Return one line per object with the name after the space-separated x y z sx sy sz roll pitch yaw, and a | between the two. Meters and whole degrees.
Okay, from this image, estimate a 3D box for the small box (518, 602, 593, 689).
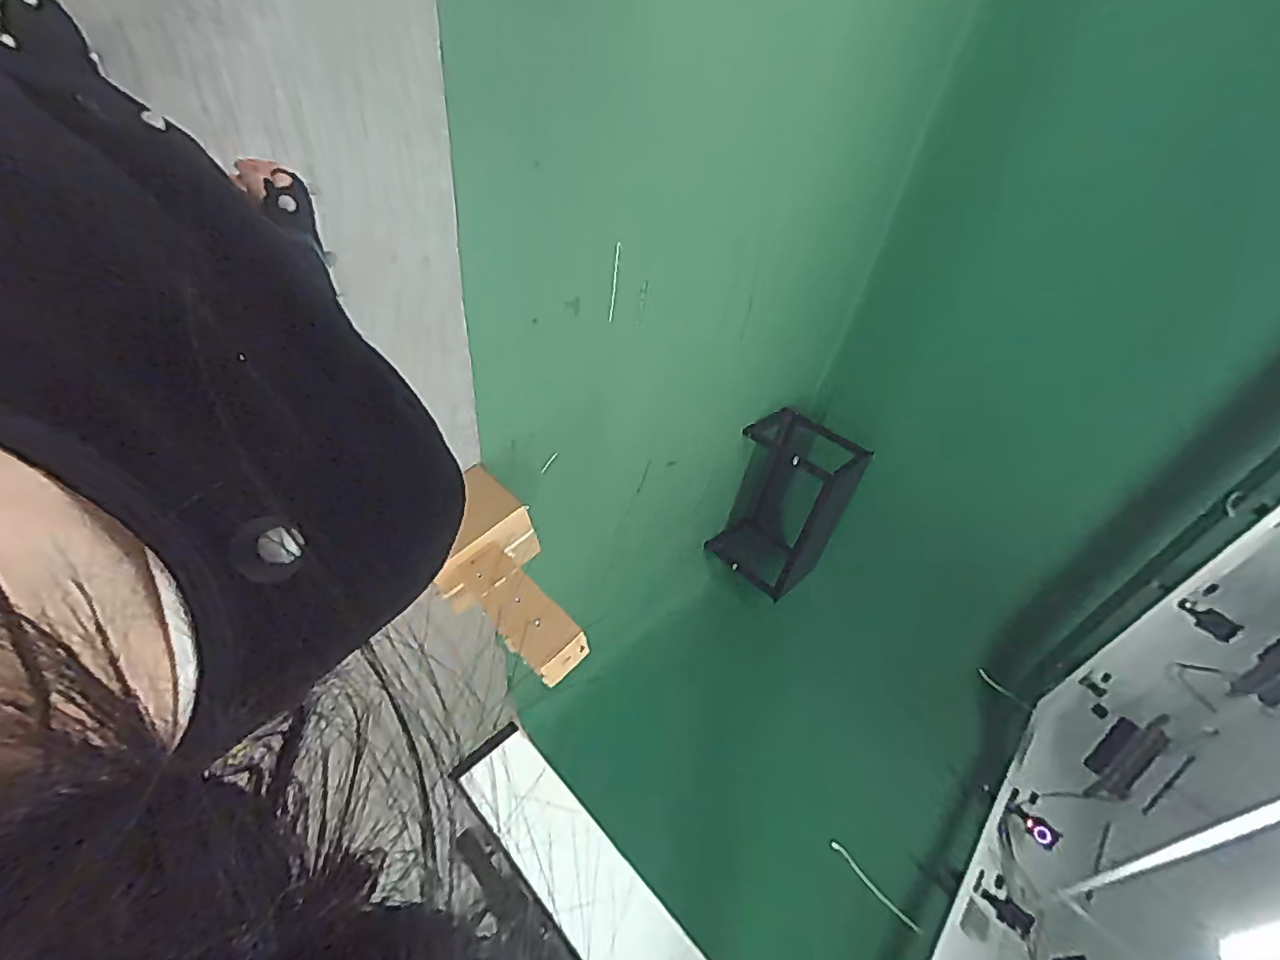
-0.280 0.536 1.765 0.179 0.176 0.168 -38 147 -24 | small box

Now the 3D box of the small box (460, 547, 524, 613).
-0.511 0.363 1.922 0.168 0.176 0.179 -38 147 -25 | small box

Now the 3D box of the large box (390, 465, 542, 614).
-0.652 0.222 2.068 0.408 0.320 0.320 -40 149 -25 | large box

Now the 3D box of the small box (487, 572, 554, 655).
-0.398 0.451 1.843 0.179 0.176 0.168 -39 147 -24 | small box
